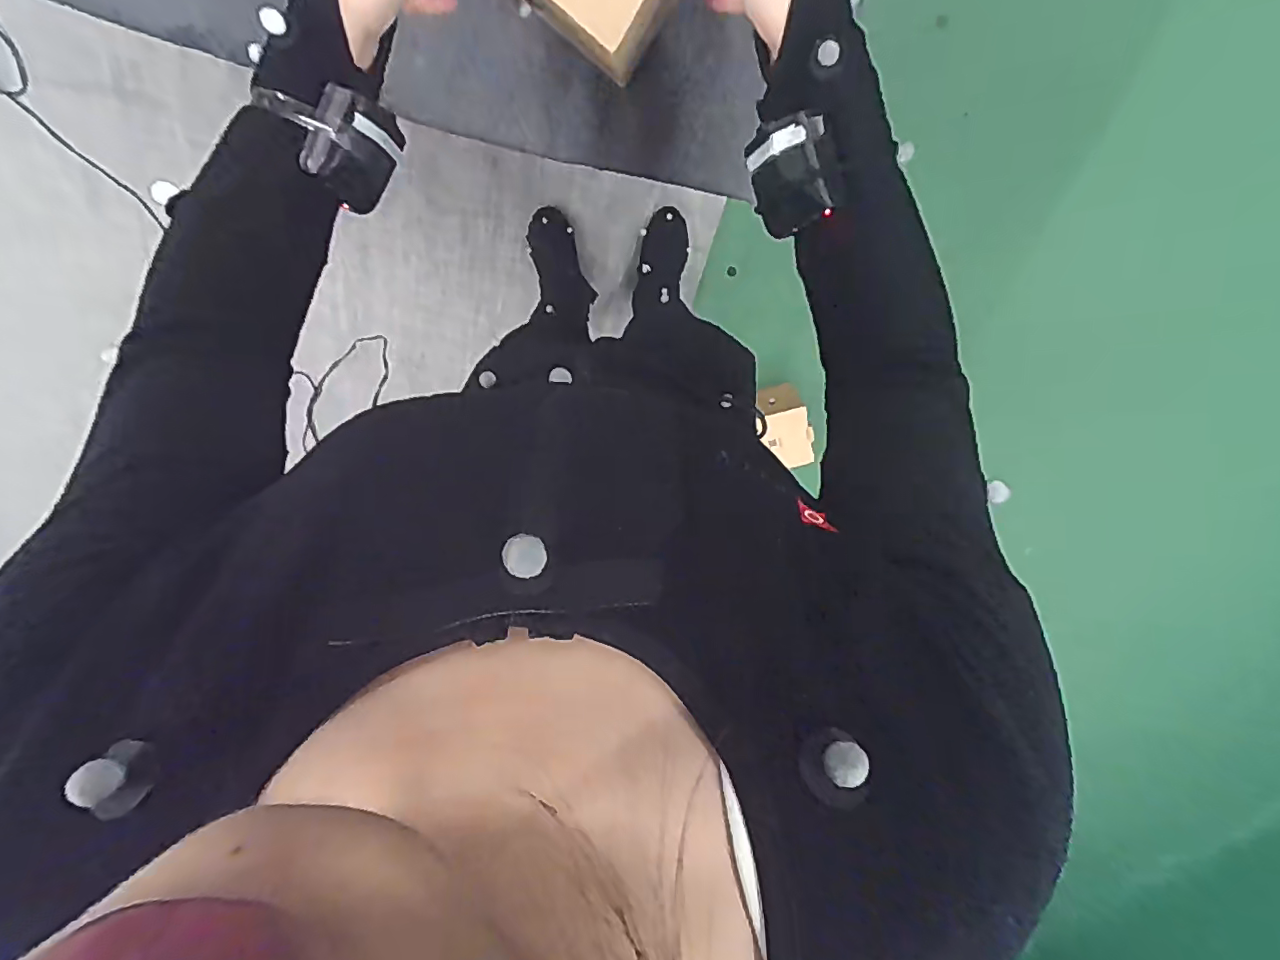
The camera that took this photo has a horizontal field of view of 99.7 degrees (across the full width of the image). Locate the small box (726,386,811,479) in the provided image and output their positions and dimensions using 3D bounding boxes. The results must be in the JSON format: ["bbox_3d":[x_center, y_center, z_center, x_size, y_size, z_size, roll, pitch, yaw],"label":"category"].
[{"bbox_3d":[0.336,-0.130,1.427,0.179,0.176,0.168,-13,120,10],"label":"small box"}]

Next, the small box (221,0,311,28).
[{"bbox_3d":[-0.716,-0.956,0.968,0.168,0.176,0.179,18,120,-8],"label":"small box"}]

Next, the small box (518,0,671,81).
[{"bbox_3d":[-0.037,-0.436,0.394,0.168,0.176,0.179,33,115,-17],"label":"small box"}]
